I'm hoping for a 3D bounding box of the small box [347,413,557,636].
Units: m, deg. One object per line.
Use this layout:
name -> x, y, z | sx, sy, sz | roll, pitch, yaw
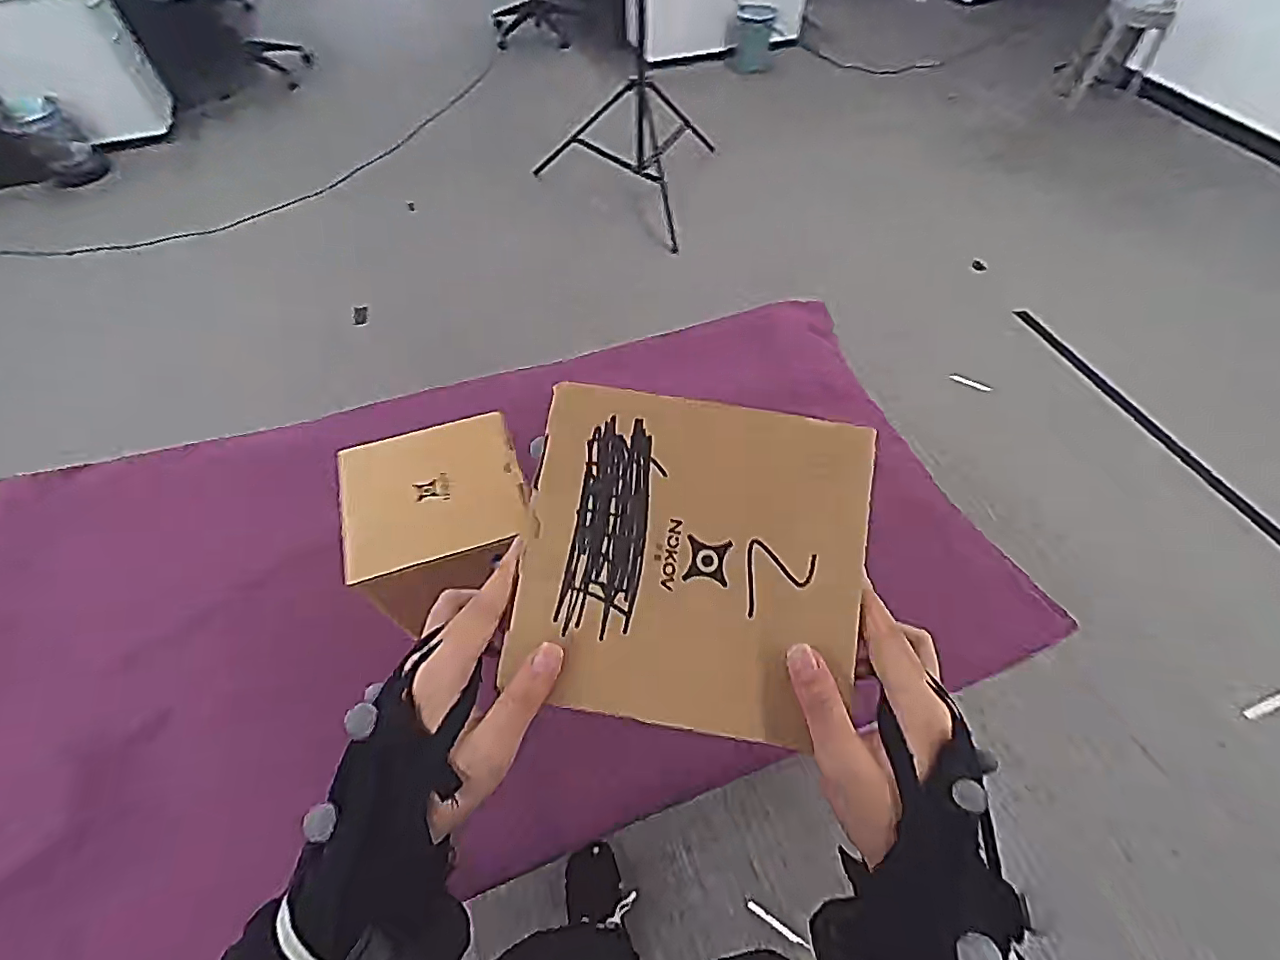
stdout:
small box -> -0.206, 0.056, 0.617 | 0.179, 0.176, 0.168 | -16, 57, -11
